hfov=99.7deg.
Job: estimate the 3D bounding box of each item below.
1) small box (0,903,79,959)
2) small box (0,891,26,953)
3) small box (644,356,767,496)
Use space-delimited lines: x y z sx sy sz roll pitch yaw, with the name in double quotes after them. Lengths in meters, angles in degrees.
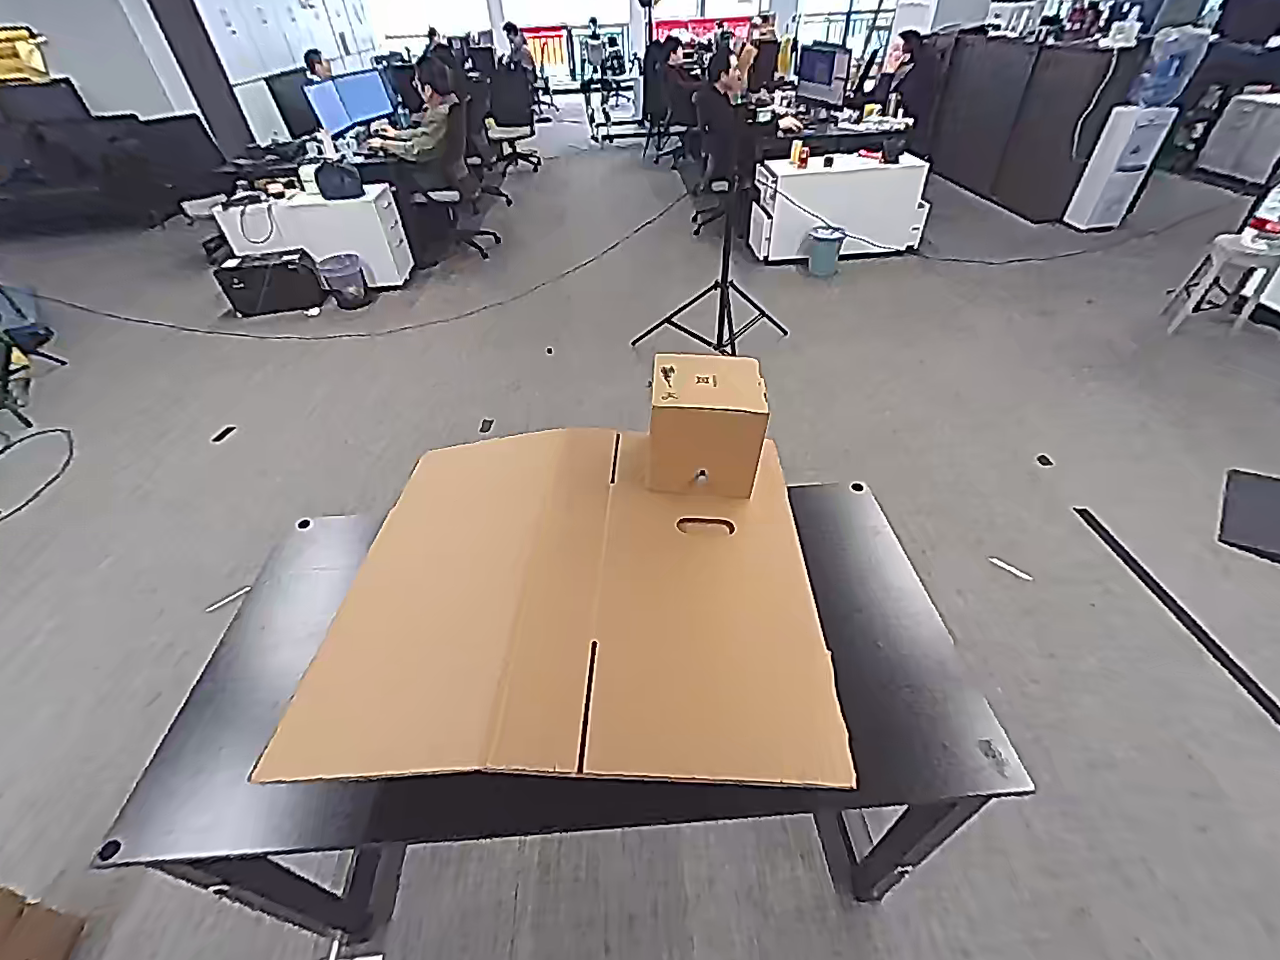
-1.330 1.007 1.109 0.168 0.176 0.179 -7 42 -4 "small box"
-1.337 0.881 1.006 0.168 0.176 0.179 -8 41 -7 "small box"
0.102 -0.088 0.908 0.179 0.176 0.168 4 40 1 "small box"
